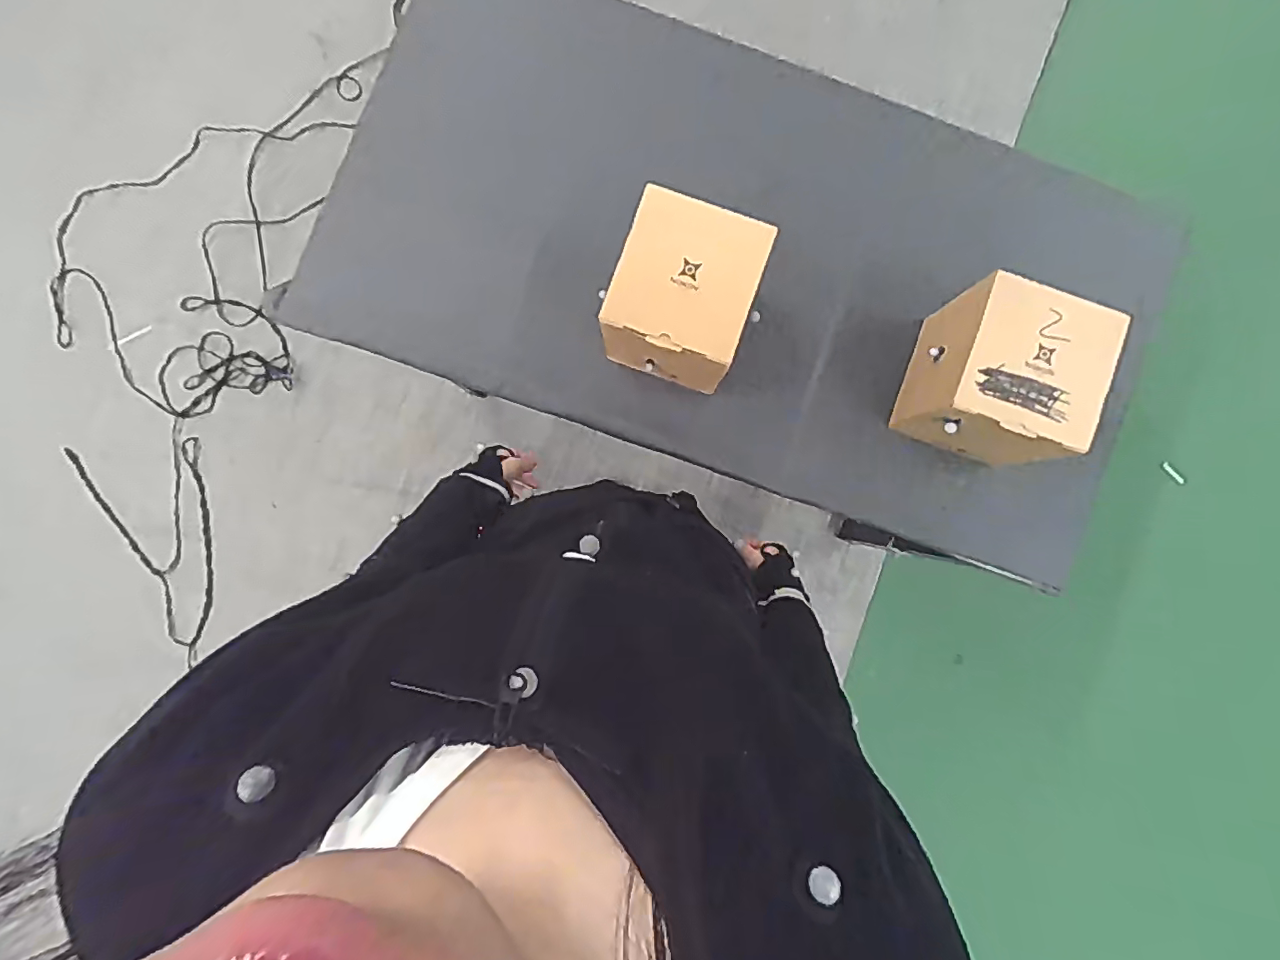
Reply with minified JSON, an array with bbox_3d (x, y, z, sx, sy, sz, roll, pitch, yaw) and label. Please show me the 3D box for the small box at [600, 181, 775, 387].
[{"bbox_3d":[0.054,-0.241,0.711,0.168,0.176,0.179,19,88,0],"label":"small box"}]
